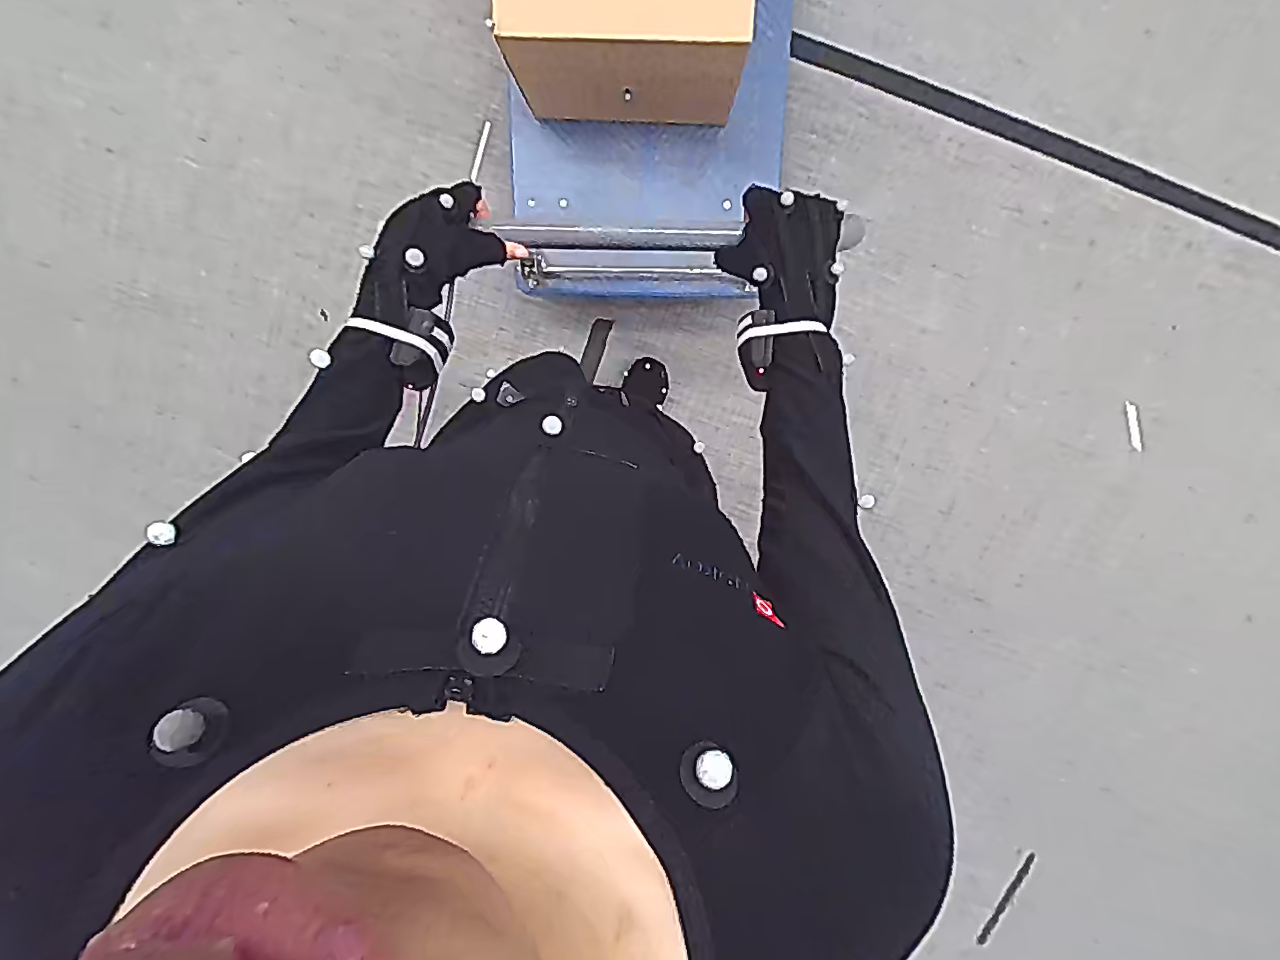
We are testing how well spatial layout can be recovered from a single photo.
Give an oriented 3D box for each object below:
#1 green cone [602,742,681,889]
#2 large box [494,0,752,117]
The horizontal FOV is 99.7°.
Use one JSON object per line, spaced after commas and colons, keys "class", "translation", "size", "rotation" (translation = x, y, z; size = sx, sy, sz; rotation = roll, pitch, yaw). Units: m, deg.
{"class": "green cone", "translation": [0.004, 0.960, 1.514], "size": [0.202, 0.368, 0.200], "rotation": [23, 102, -5]}
{"class": "large box", "translation": [-0.019, -0.870, 0.951], "size": [0.408, 0.320, 0.320], "rotation": [2, 103, 2]}
